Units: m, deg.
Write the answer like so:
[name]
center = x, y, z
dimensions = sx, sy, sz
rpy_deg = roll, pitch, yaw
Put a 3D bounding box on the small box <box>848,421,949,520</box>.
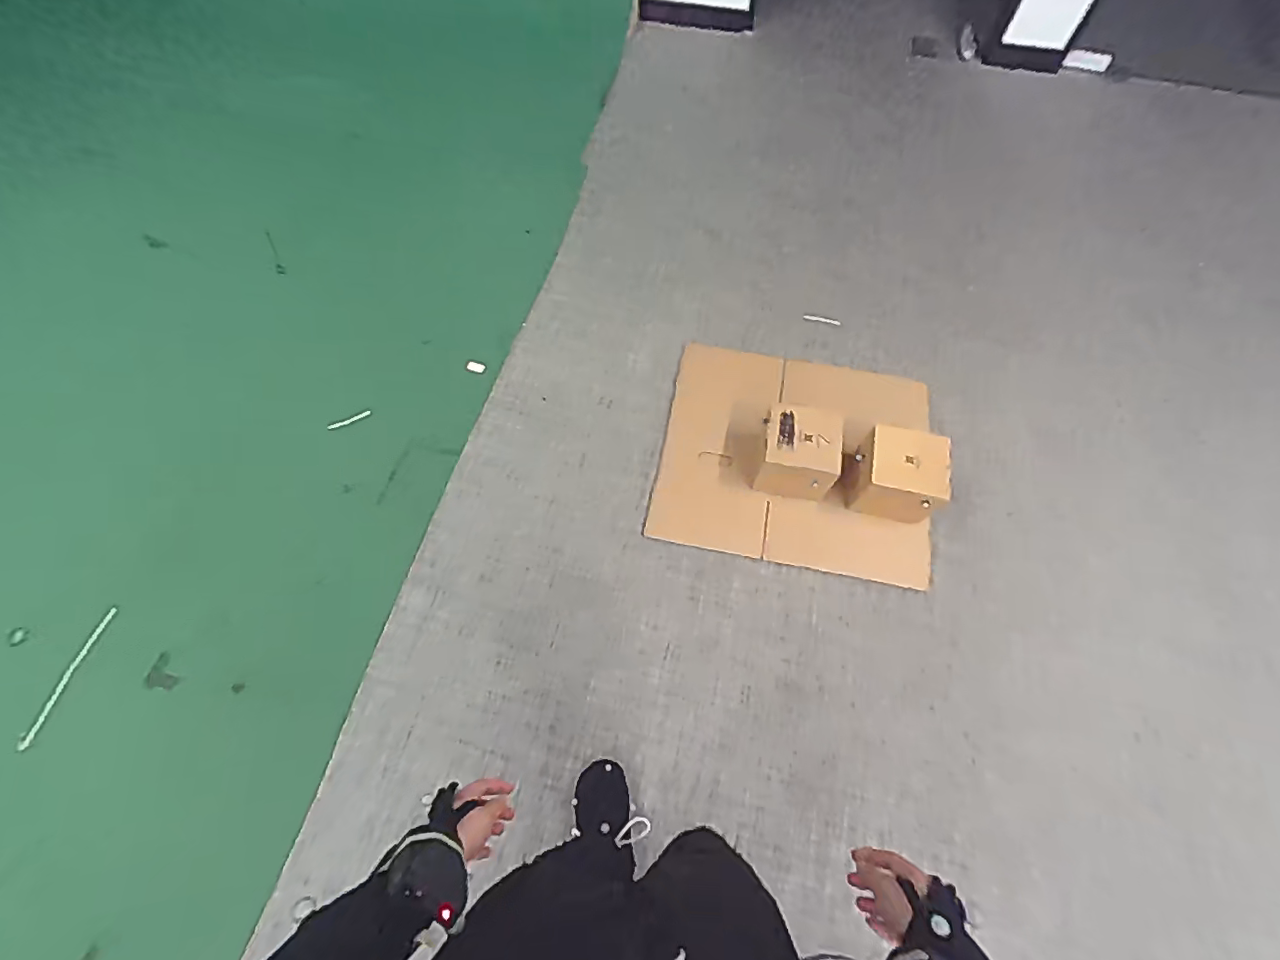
[small box]
center = 0.621, -0.017, 1.313
dimensions = 0.179, 0.176, 0.168
rpy_deg = 12, 66, 5
